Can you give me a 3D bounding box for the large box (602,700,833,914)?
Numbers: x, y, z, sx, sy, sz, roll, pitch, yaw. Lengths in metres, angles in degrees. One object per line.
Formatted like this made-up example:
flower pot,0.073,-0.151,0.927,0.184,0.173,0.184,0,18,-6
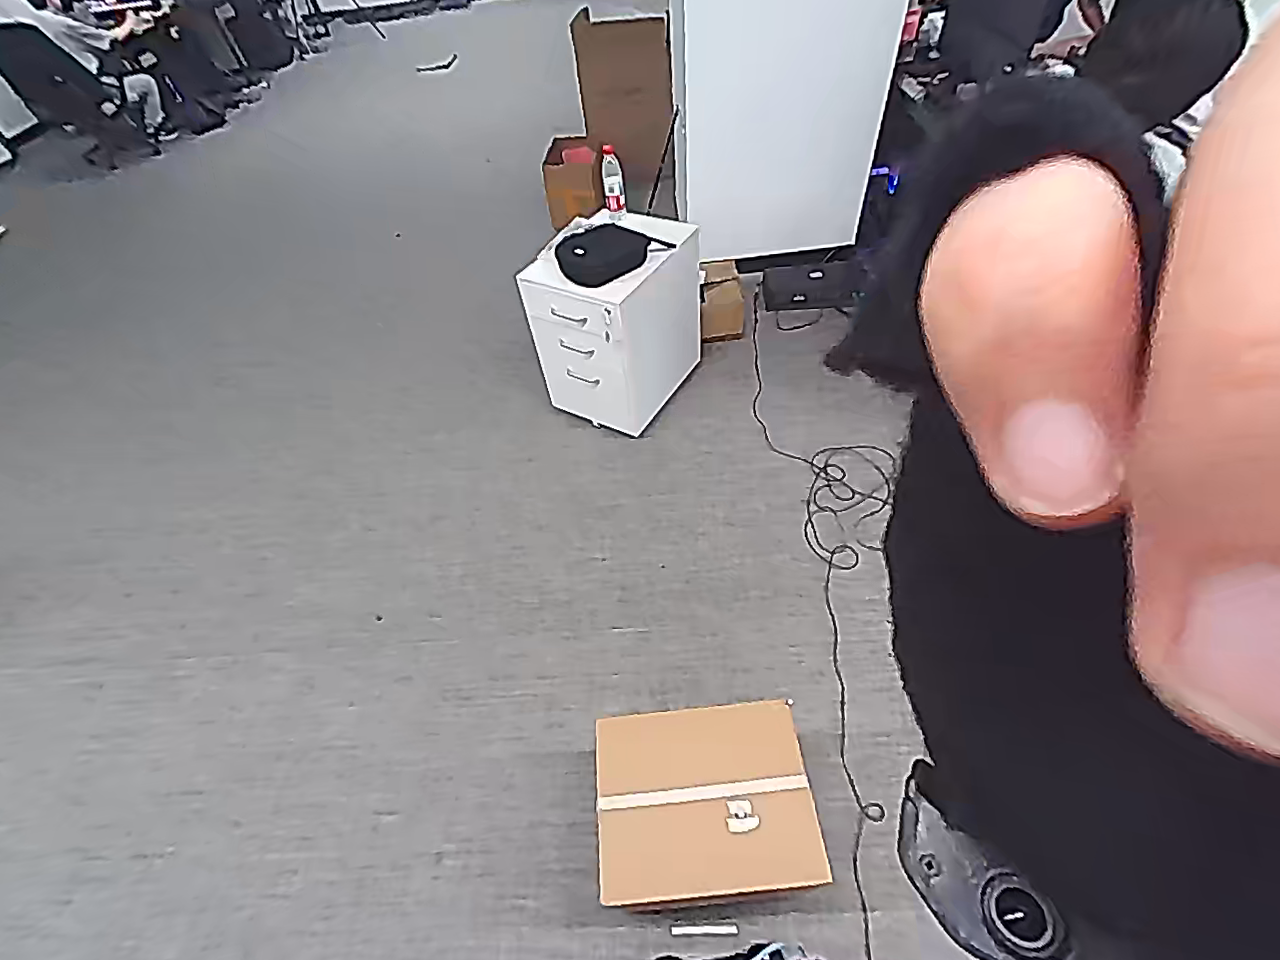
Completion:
large box,0.140,0.697,1.149,0.408,0.320,0.320,-7,50,1
